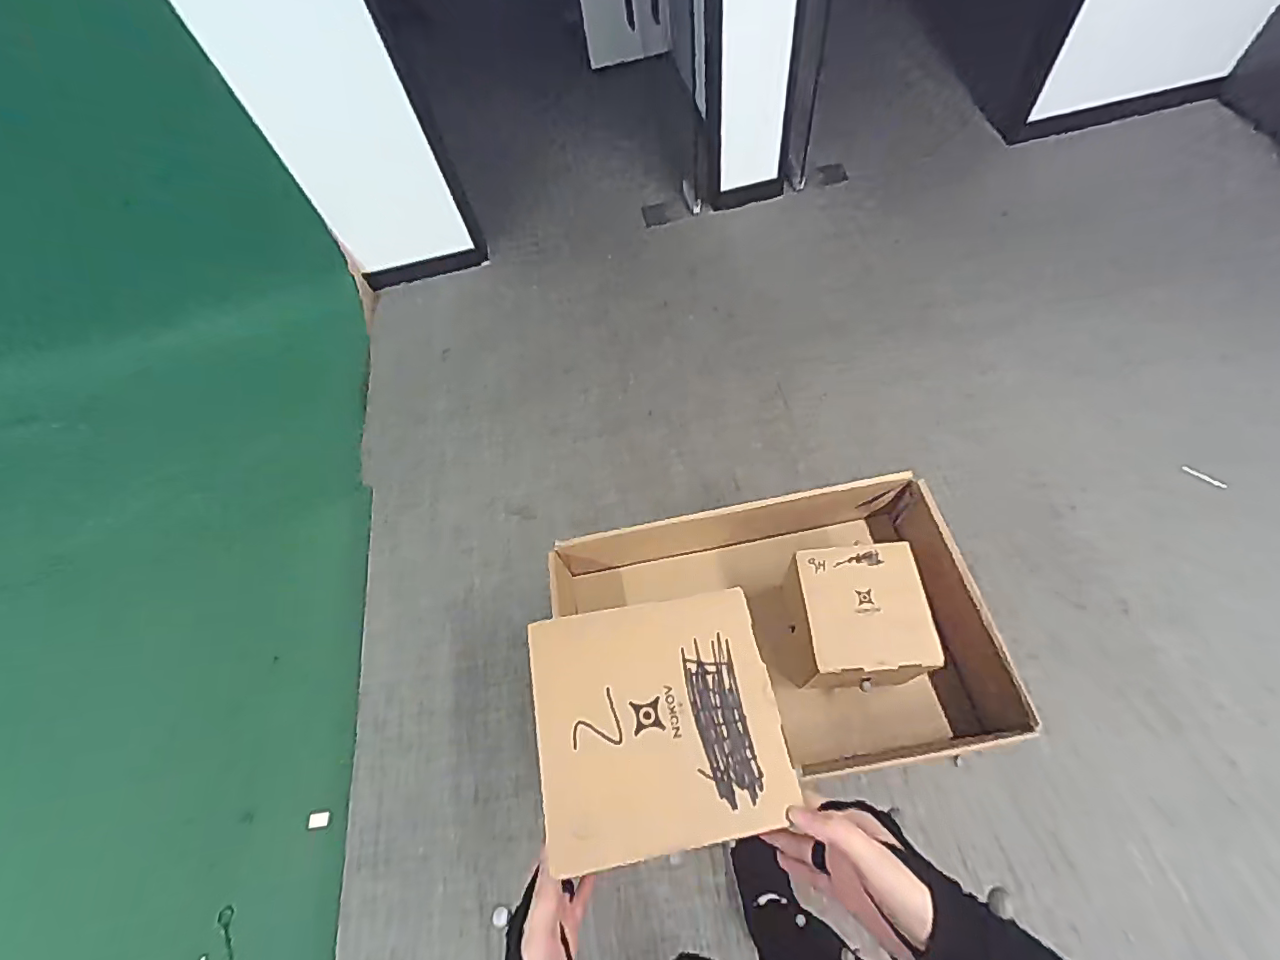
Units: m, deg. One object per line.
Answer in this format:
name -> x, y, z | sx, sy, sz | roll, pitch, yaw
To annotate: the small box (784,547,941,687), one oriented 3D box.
small box -> 0.322, 0.215, 0.822 | 0.168, 0.176, 0.179 | -5, 62, 4
